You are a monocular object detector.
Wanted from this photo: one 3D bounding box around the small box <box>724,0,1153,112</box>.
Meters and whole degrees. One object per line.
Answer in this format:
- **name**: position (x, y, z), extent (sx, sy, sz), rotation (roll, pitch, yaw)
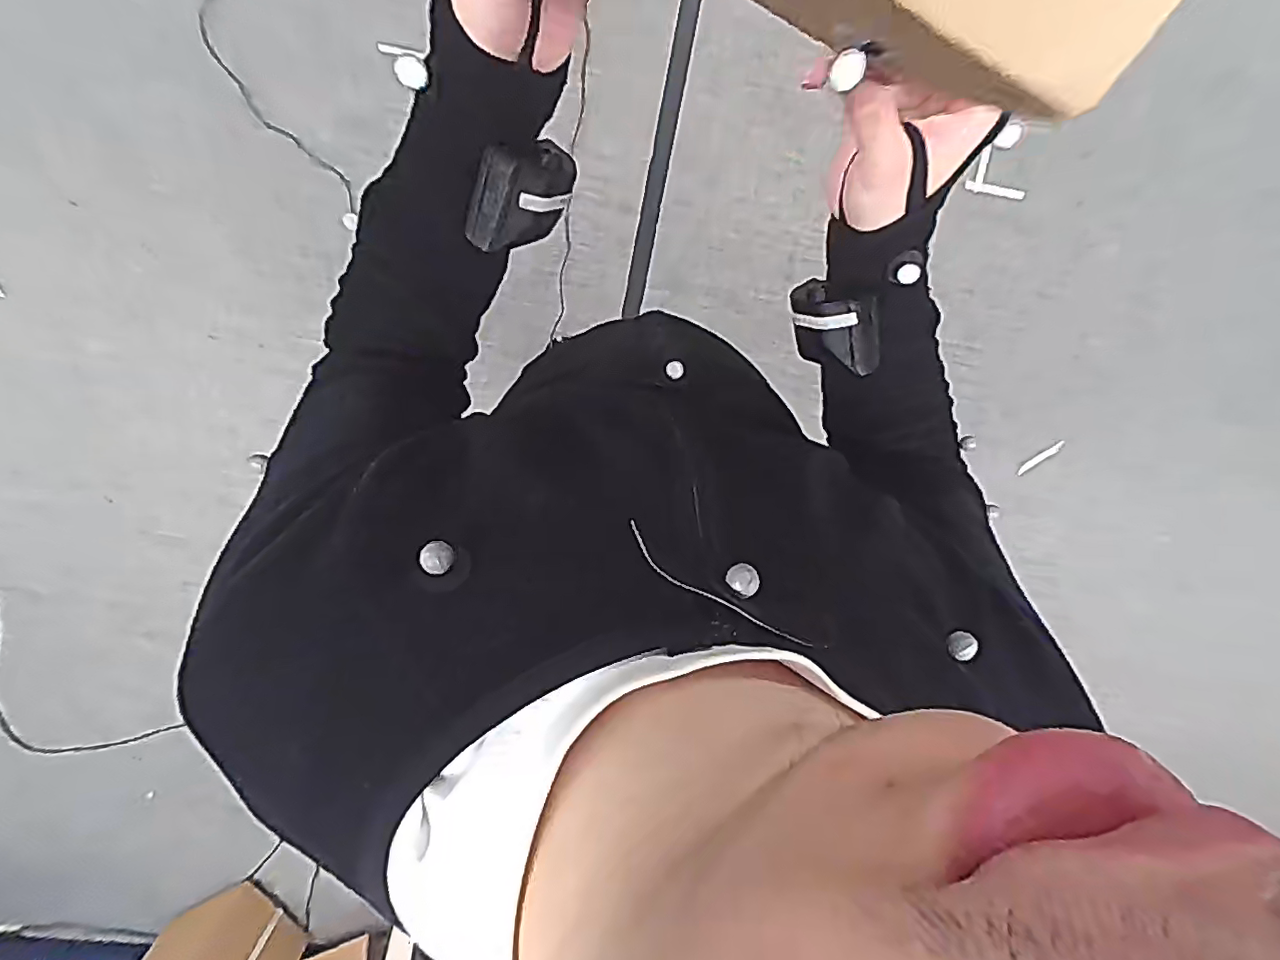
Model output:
- **small box**: position (0.073, -0.237, 0.148), extent (0.179, 0.176, 0.168), rotation (19, 126, -12)
